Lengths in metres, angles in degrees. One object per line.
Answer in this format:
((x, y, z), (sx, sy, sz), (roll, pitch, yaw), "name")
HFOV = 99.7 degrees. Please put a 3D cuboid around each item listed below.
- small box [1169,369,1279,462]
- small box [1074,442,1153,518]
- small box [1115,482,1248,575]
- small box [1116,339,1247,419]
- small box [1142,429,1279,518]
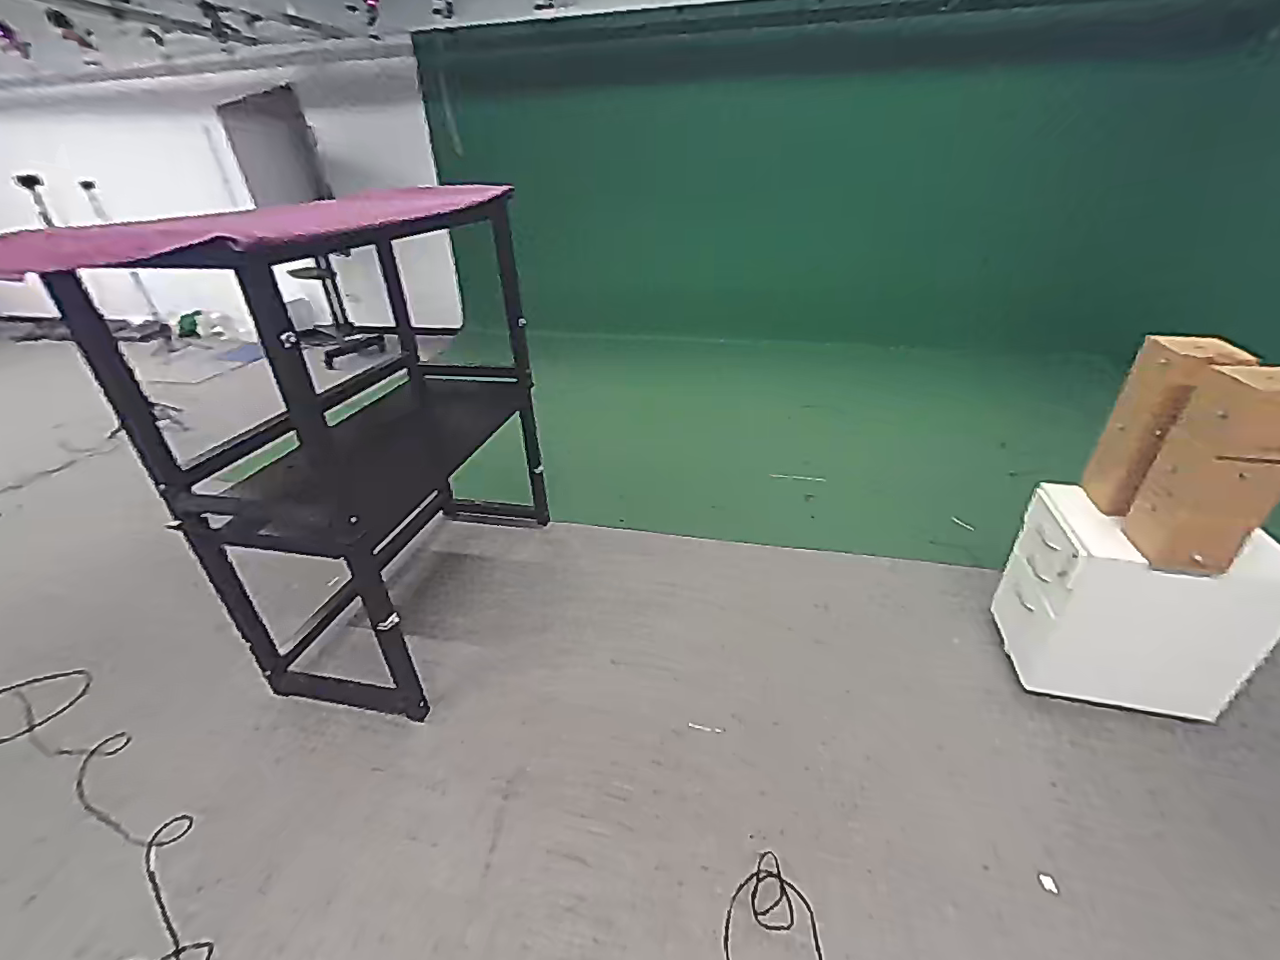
((1.430, -0.154, 1.283), (0.168, 0.176, 0.179), (6, 30, 13), "small box")
((1.481, 0.003, 1.658), (0.168, 0.176, 0.179), (6, 33, 14), "small box")
((1.433, 0.128, 1.450), (0.168, 0.176, 0.179), (6, 31, 13), "small box")
((1.473, -0.276, 1.489), (0.168, 0.176, 0.179), (7, 33, 13), "small box")
((1.434, -0.018, 1.372), (0.179, 0.176, 0.168), (5, 31, 11), "small box")
